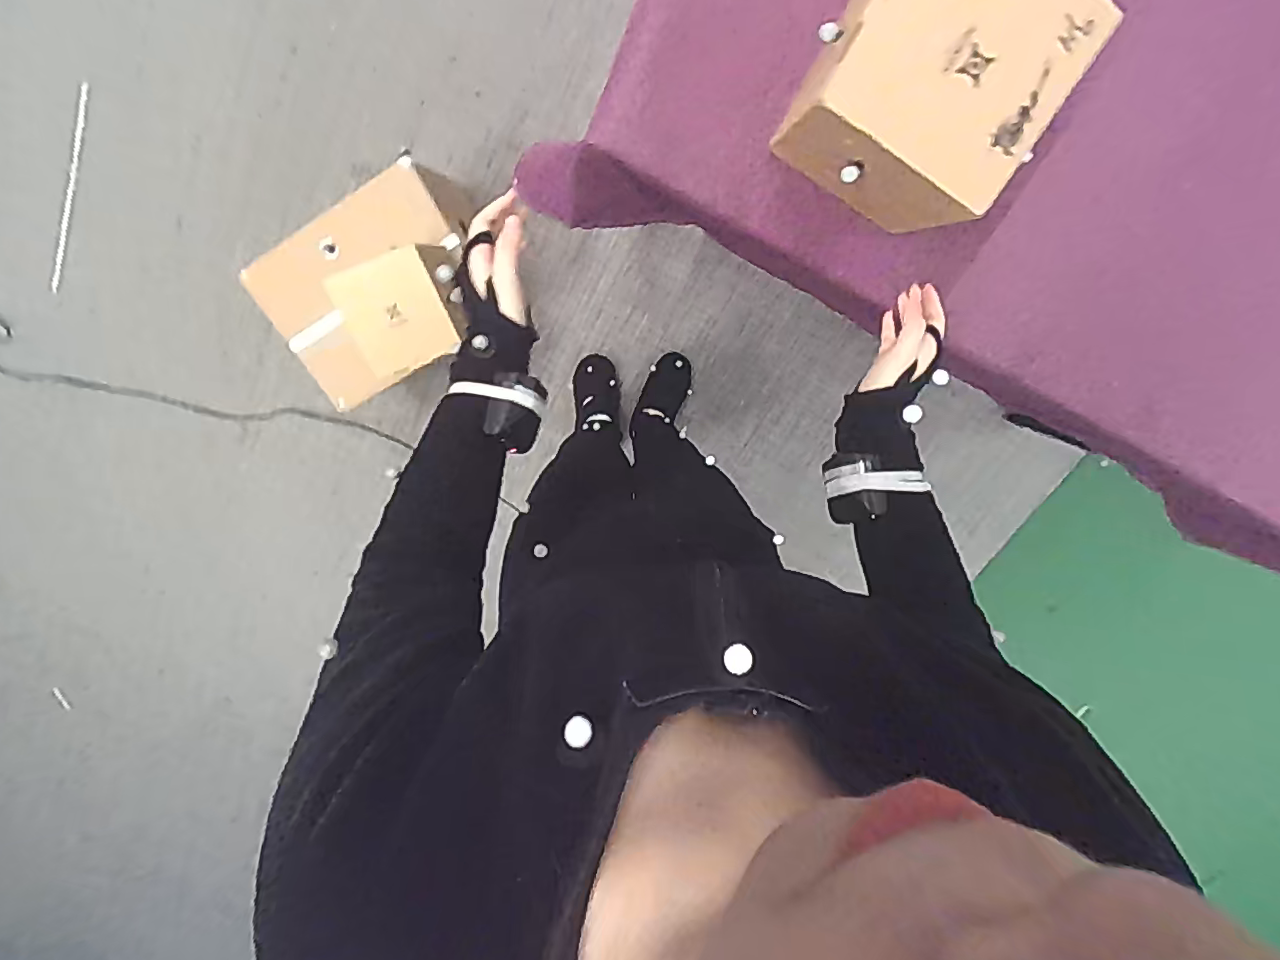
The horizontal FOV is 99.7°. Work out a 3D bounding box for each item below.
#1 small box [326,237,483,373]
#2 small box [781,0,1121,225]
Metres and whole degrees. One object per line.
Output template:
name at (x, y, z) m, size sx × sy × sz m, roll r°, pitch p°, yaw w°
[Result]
small box at (-0.402, -0.313, 0.957) m, size 0.168 × 0.176 × 0.179 m, roll -19°, pitch 114°, yaw 6°
small box at (0.257, -0.358, 0.500) m, size 0.179 × 0.176 × 0.168 m, roll 28°, pitch 109°, yaw -10°
